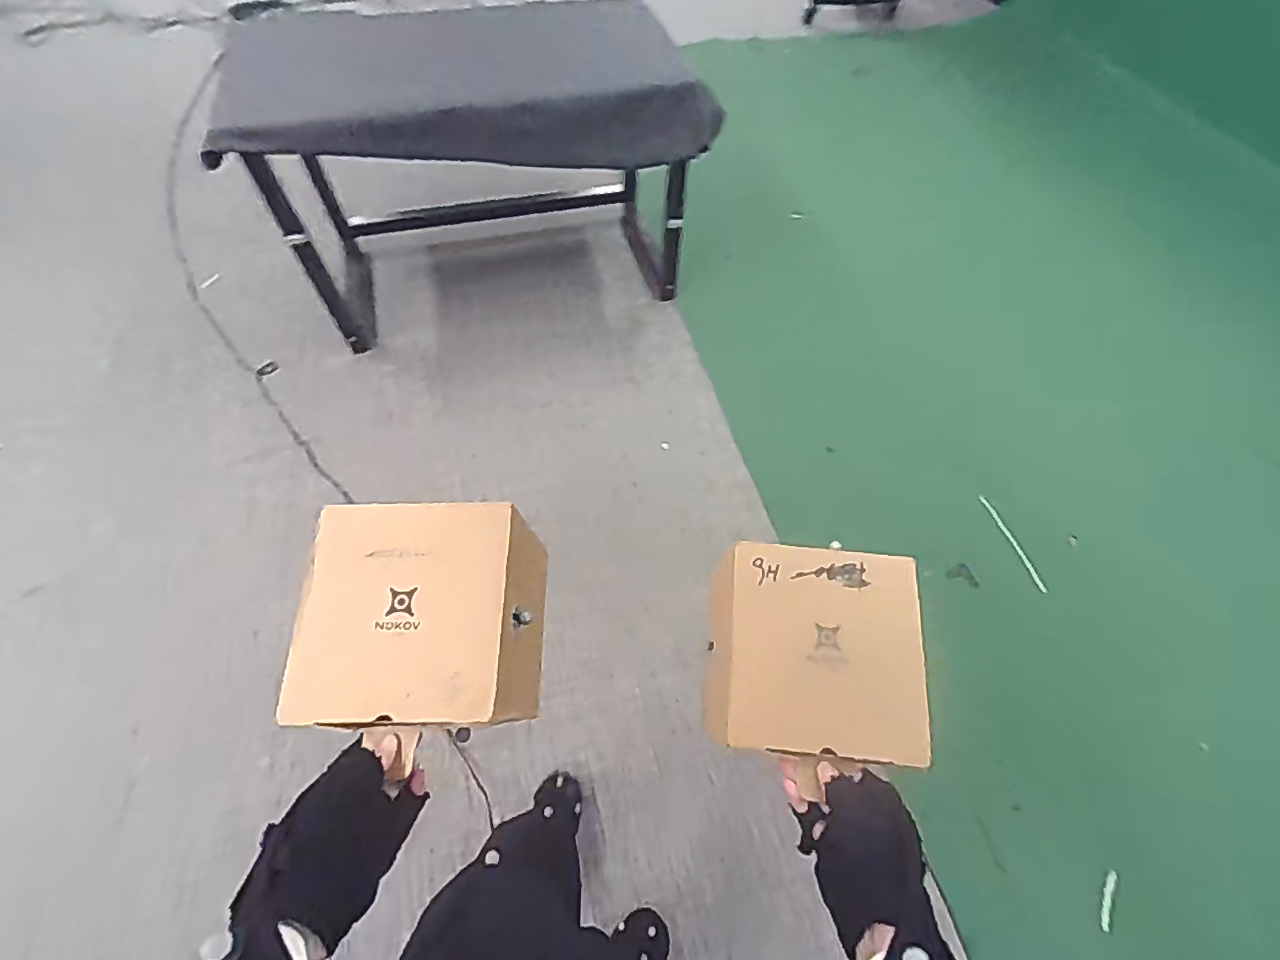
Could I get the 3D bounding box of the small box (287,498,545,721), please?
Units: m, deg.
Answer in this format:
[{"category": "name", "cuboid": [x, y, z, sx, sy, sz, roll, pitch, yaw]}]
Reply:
[{"category": "small box", "cuboid": [-0.187, 0.127, 0.512, 0.168, 0.176, 0.179, -2, 67, 0]}]
